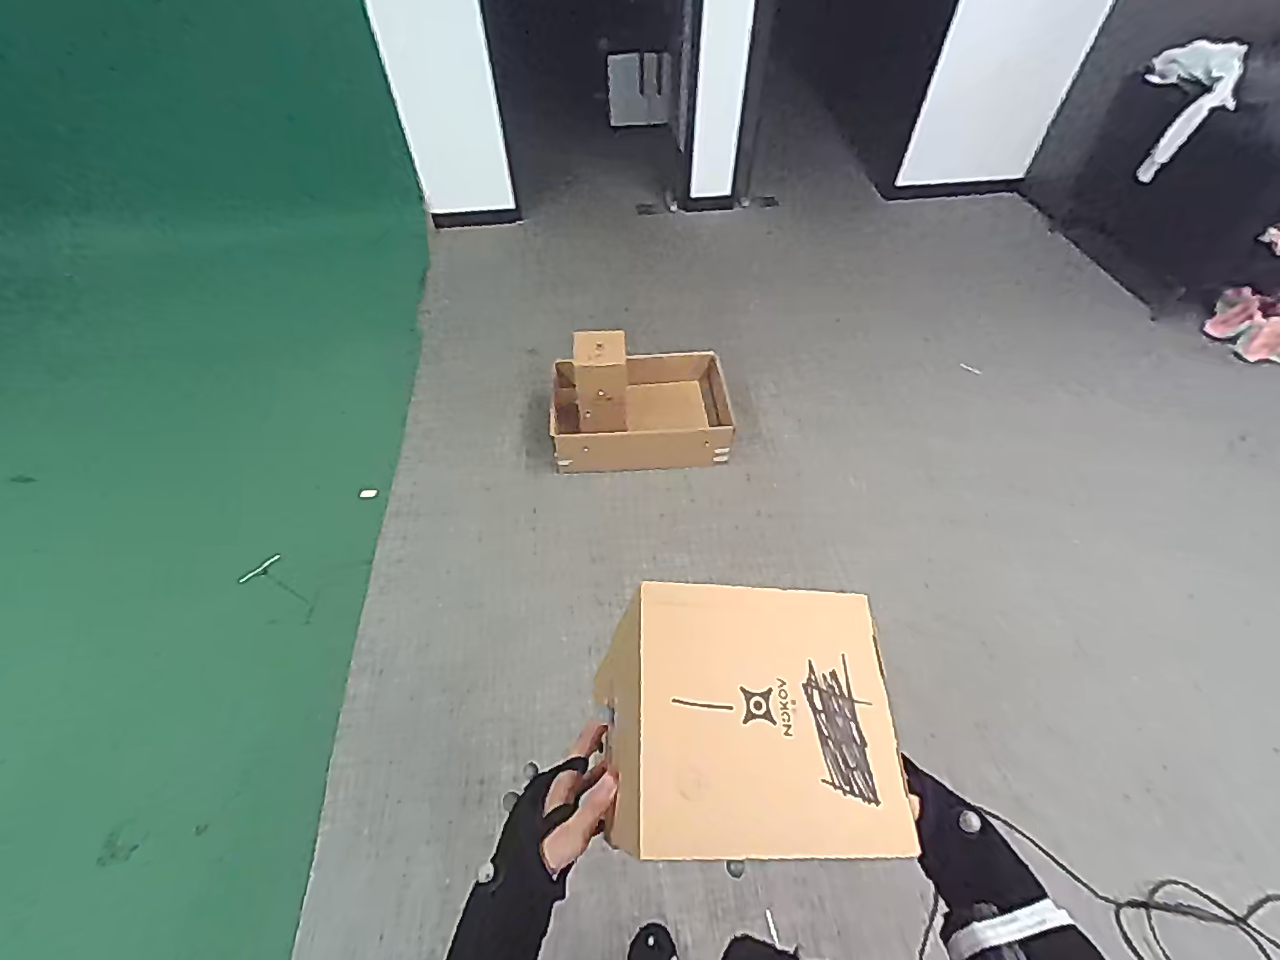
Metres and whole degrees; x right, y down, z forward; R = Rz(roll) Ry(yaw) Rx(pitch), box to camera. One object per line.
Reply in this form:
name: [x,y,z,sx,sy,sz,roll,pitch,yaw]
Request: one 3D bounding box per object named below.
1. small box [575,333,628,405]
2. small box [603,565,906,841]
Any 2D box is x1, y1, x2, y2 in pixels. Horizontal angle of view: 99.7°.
small box: [-0.125,-0.371,1.807,0.168,0.176,0.179,-3,52,-1]
small box: [0.069,0.180,0.429,0.179,0.176,0.168,5,59,-6]
